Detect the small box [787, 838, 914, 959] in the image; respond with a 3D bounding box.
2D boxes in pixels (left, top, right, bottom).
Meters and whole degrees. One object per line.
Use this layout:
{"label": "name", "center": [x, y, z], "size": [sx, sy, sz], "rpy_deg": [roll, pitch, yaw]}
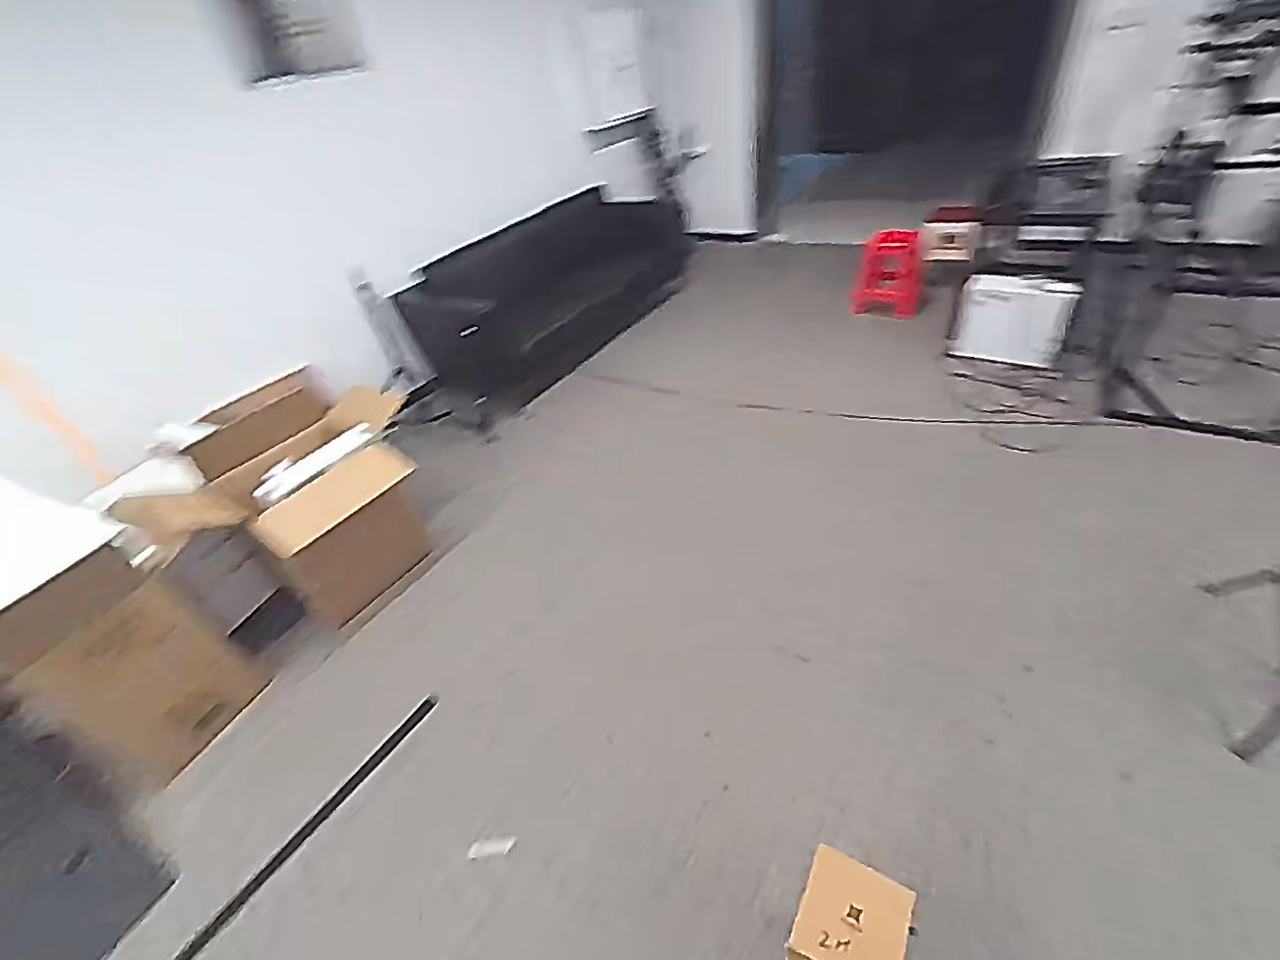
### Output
{"label": "small box", "center": [0.368, 0.795, 0.959], "size": [0.168, 0.176, 0.179], "rpy_deg": [15, 45, 31]}
